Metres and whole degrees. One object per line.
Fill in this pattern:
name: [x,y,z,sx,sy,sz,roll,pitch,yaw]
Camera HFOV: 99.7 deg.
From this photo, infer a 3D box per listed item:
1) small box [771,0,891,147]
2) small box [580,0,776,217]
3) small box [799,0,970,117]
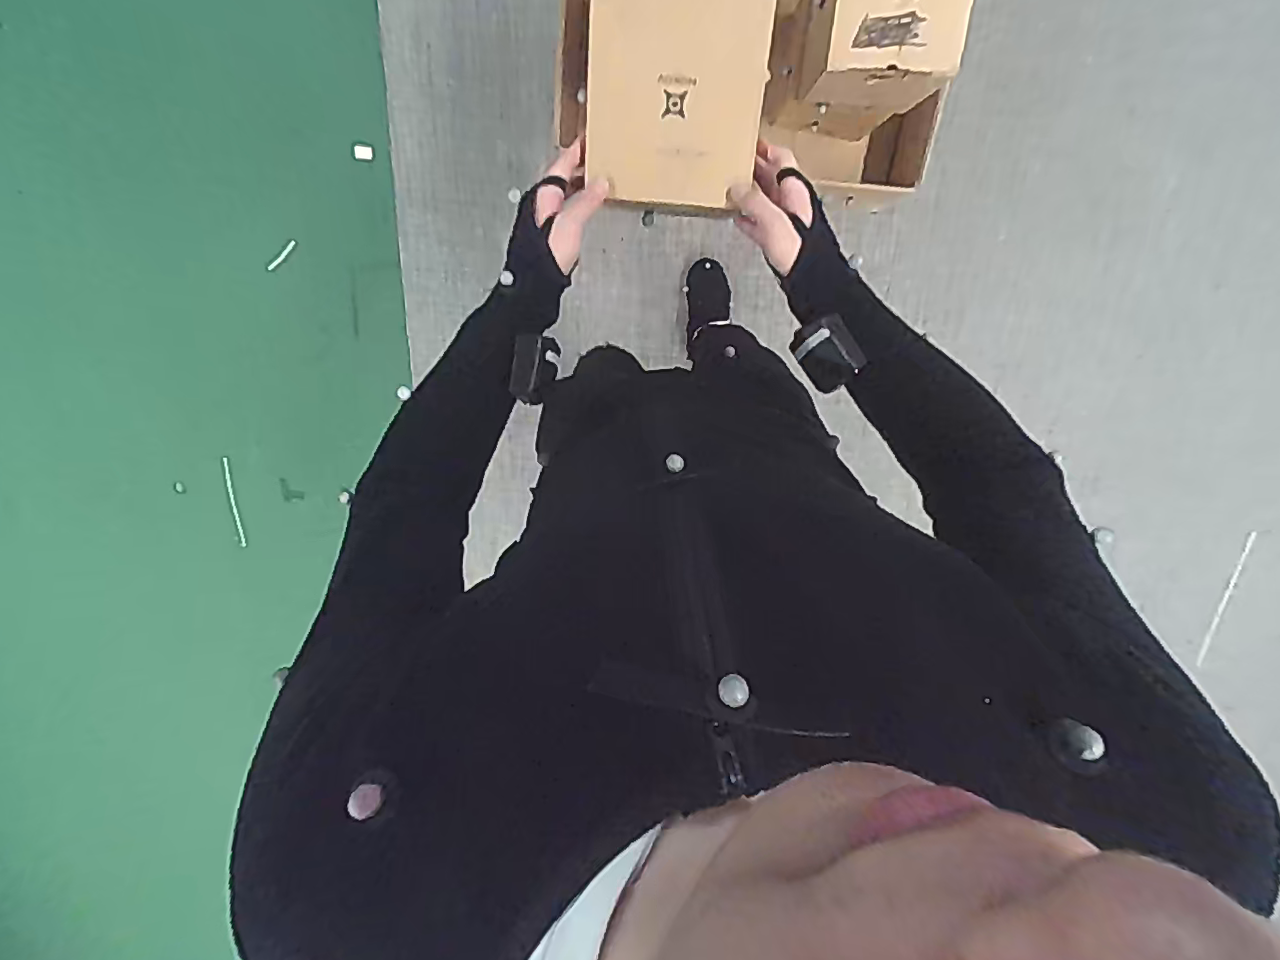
small box: [0.322,-0.673,0.880,0.168,0.176,0.179,9,110,0]
small box: [0.030,-0.387,0.569,0.168,0.176,0.179,5,112,-1]
small box: [0.321,-0.613,0.727,0.168,0.176,0.179,4,109,1]
